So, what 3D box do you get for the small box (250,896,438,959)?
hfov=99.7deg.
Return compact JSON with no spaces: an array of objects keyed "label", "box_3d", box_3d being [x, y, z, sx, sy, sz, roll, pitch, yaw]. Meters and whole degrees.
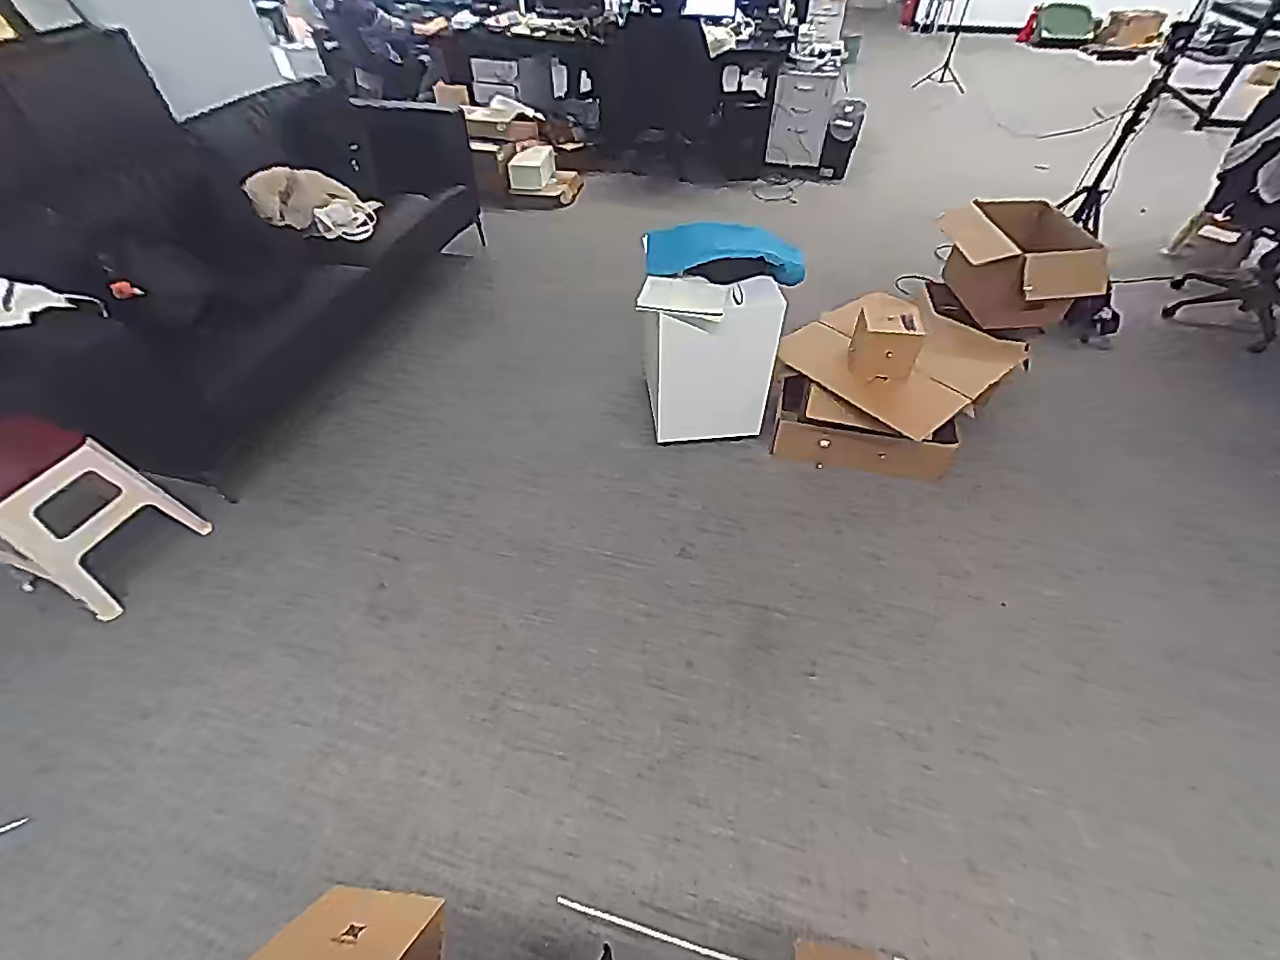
[{"label":"small box","box_3d":[-0.366,0.644,0.642,0.168,0.179,0.176,2,80,6]}]
